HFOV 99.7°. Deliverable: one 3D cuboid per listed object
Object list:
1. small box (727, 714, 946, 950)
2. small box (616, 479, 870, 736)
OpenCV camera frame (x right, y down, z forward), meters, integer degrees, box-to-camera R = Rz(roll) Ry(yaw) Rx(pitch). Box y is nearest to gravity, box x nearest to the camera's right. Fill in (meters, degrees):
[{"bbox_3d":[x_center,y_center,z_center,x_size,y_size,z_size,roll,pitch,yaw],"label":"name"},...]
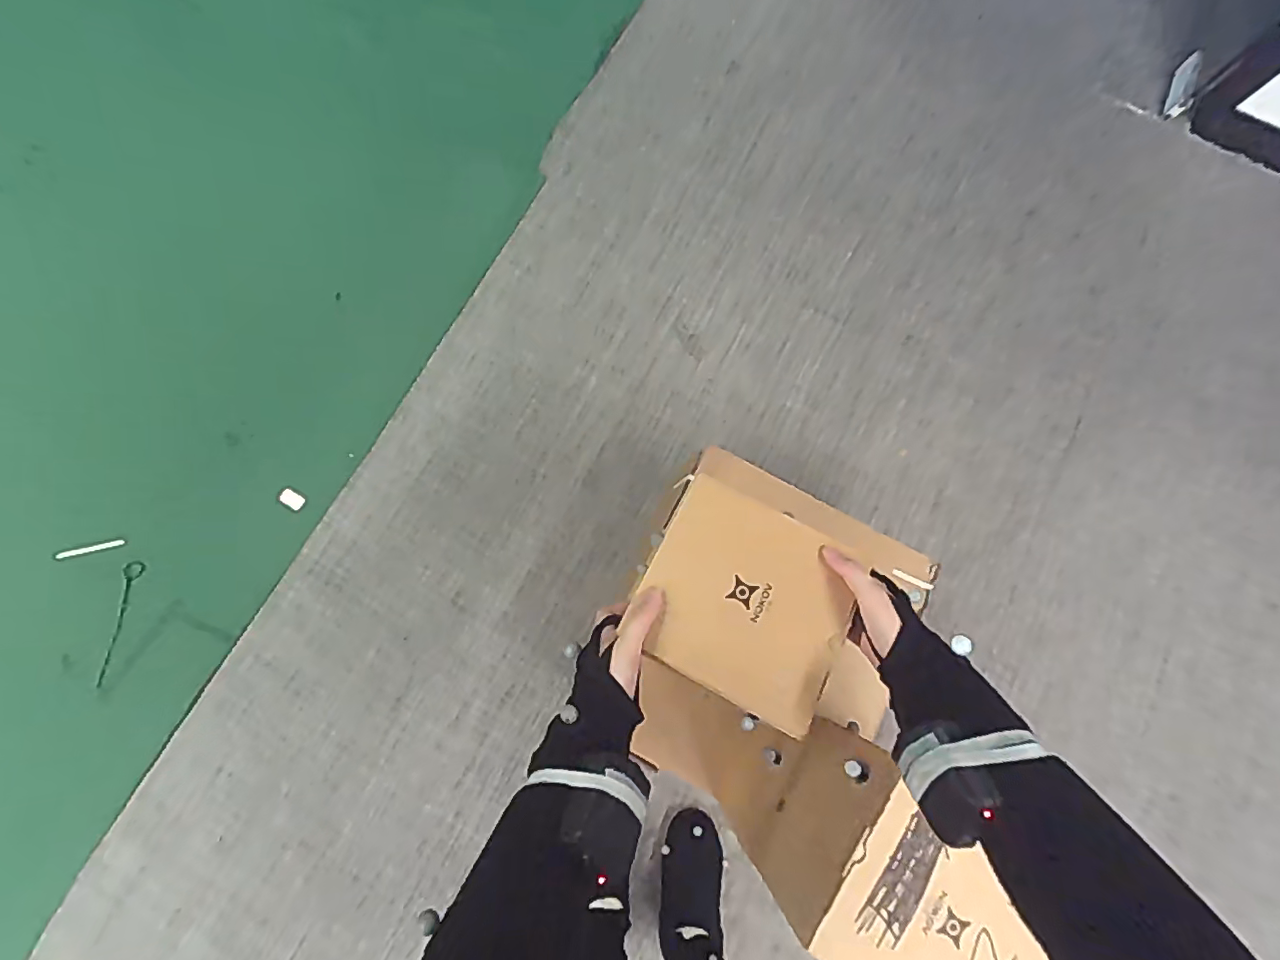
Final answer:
[{"bbox_3d":[0.228,0.403,0.672,0.168,0.176,0.179,31,77,3],"label":"small box"},{"bbox_3d":[0.090,0.129,0.543,0.179,0.176,0.168,27,73,7],"label":"small box"}]
